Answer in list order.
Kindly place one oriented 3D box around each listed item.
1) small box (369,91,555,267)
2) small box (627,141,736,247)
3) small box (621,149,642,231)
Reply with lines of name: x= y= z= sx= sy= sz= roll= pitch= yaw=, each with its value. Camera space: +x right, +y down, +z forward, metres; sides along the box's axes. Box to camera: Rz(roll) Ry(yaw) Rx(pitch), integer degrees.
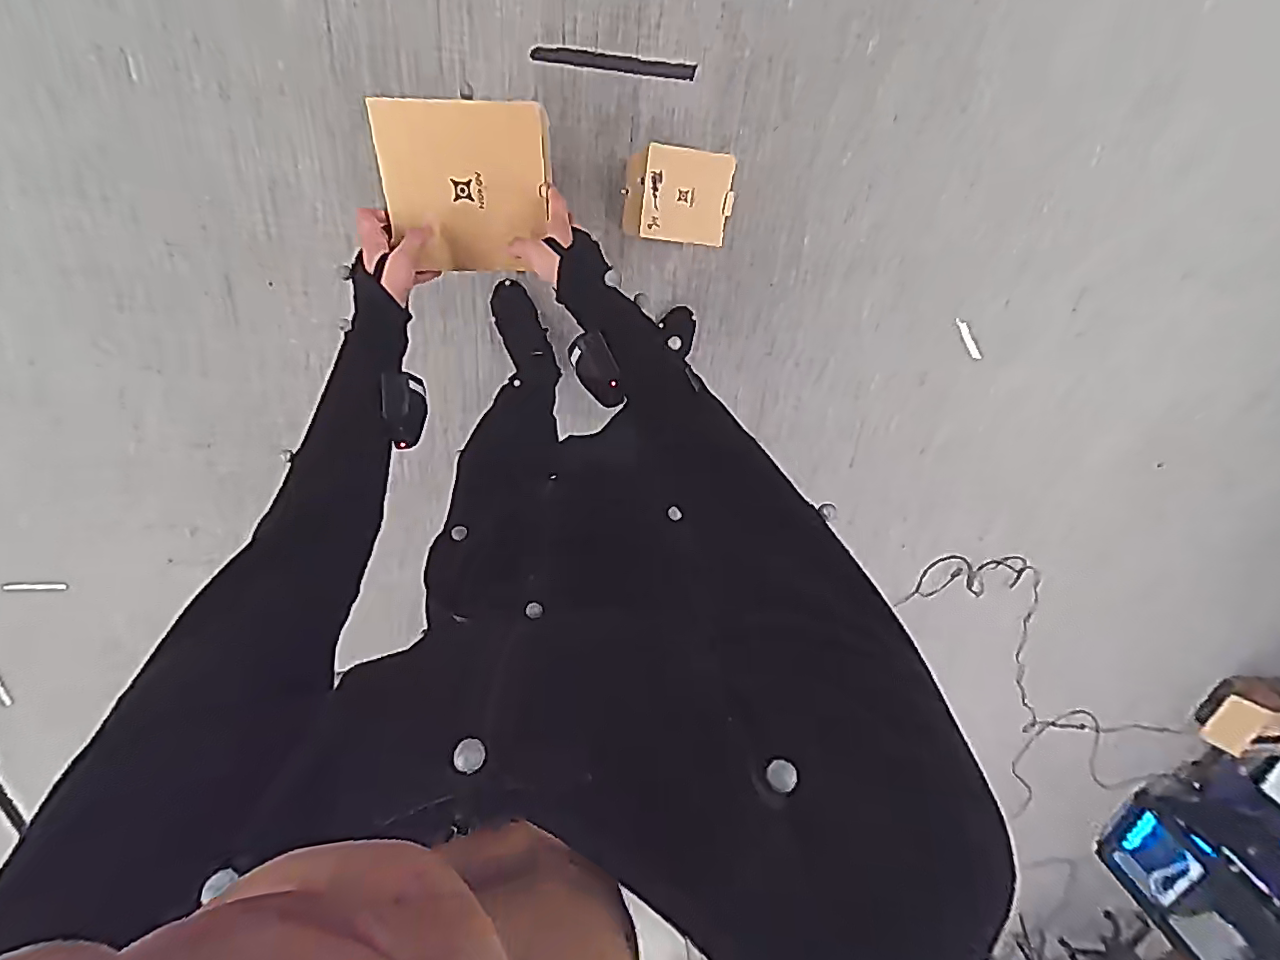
small box: x=-0.195 y=-0.356 z=0.652 sx=0.179 sy=0.176 sz=0.168 roll=-3 pitch=120 yaw=-7
small box: x=0.078 y=-0.594 z=1.132 sx=0.179 sy=0.176 sz=0.168 roll=3 pitch=116 yaw=-12
small box: x=0.054 y=-0.668 z=1.277 sx=0.179 sy=0.176 sz=0.168 roll=2 pitch=117 yaw=-11
